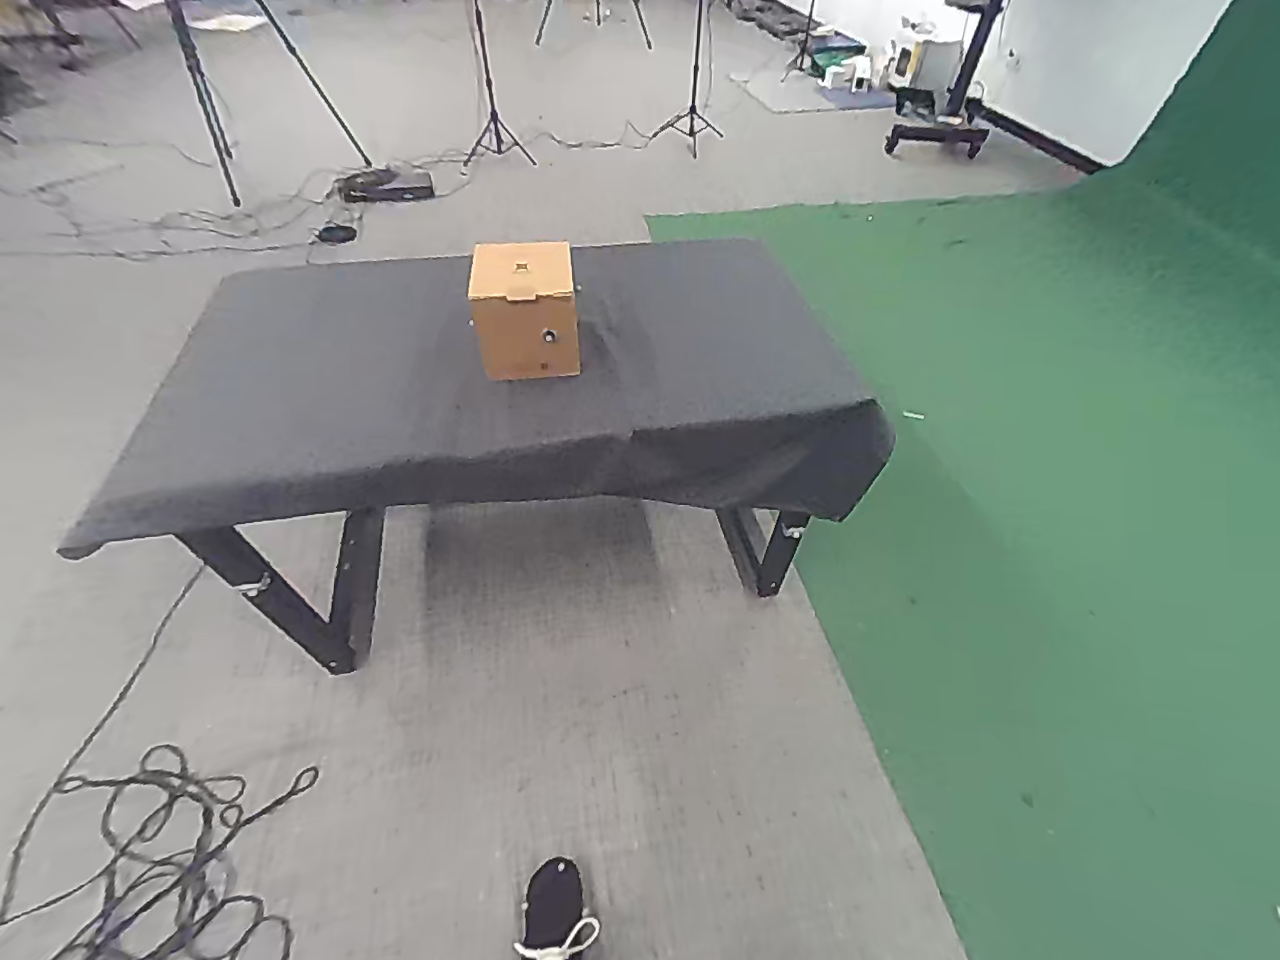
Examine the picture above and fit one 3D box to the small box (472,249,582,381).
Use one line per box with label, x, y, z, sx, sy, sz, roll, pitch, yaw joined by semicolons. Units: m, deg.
small box;-0.193;-0.288;0.963;0.168;0.176;0.179;-4;48;-7
